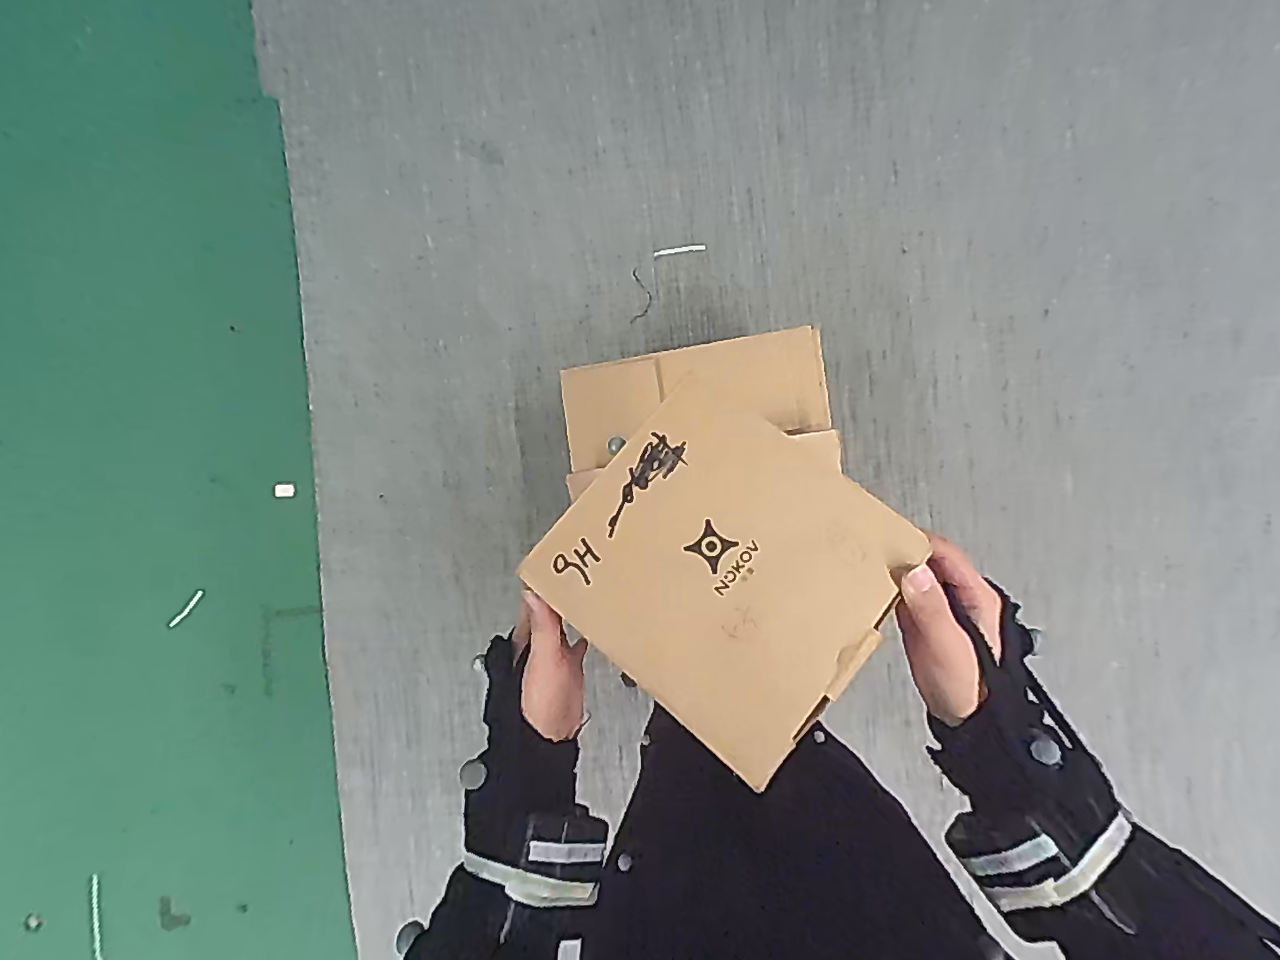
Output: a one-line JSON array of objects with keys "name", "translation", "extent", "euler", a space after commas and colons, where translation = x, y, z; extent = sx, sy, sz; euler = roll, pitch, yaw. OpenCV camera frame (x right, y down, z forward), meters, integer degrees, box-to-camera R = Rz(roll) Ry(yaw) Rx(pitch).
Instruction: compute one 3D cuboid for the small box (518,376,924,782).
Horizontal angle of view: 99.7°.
[{"name": "small box", "translation": [0.049, 0.065, 0.385], "extent": [0.179, 0.176, 0.168], "euler": [39, 79, 12]}]
